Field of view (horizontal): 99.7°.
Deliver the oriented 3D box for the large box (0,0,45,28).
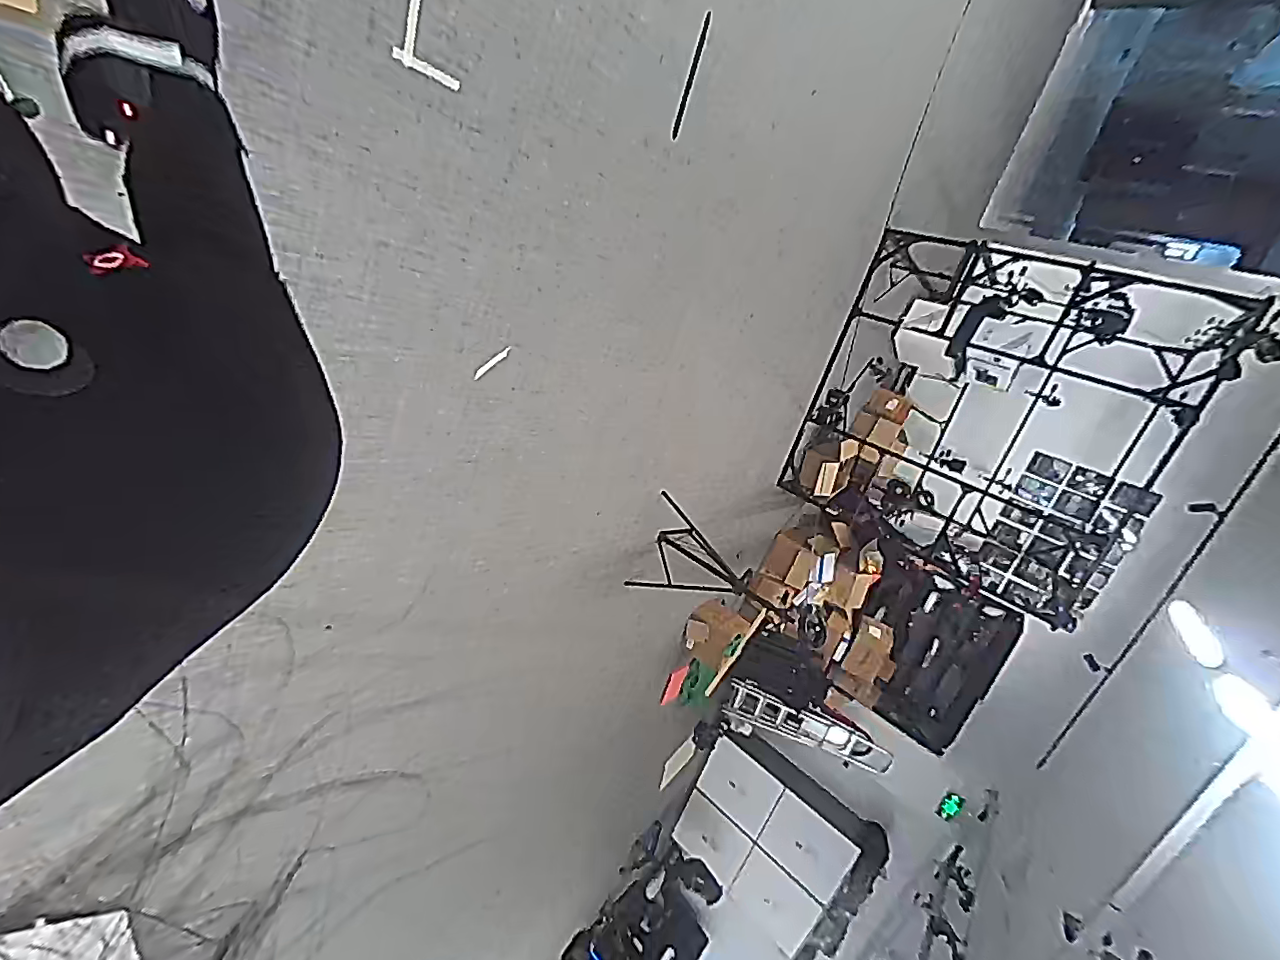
[{"bbox_3d":[-0.975,-0.774,0.581,0.408,0.320,0.320,-9,123,-53],"label":"large box"}]
